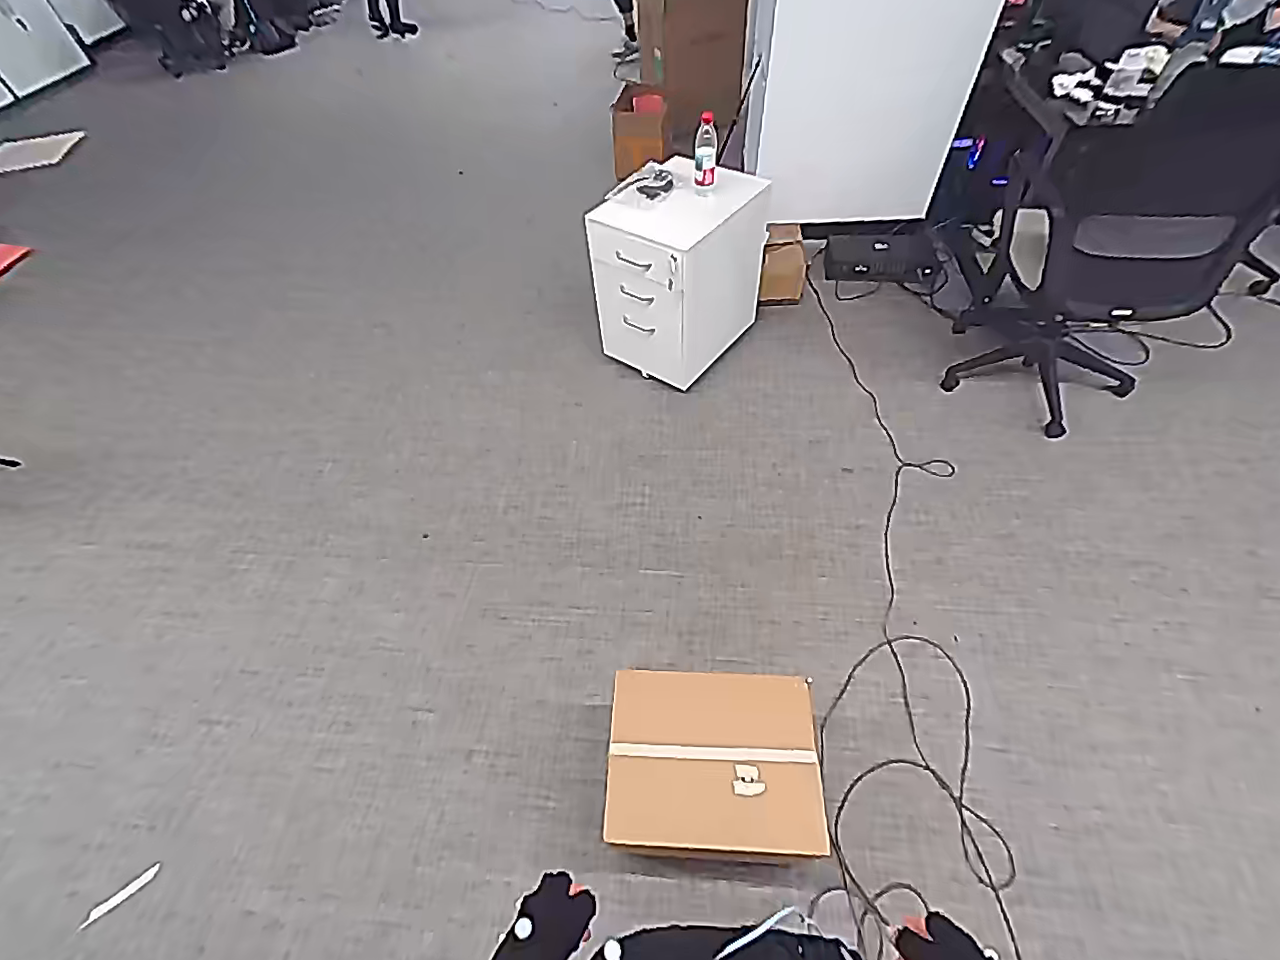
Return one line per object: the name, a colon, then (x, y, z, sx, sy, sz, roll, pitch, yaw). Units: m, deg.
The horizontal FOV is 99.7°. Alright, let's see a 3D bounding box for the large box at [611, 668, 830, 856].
large box: (0.155, 0.620, 1.181, 0.408, 0.320, 0.320, 1, 53, 4)
